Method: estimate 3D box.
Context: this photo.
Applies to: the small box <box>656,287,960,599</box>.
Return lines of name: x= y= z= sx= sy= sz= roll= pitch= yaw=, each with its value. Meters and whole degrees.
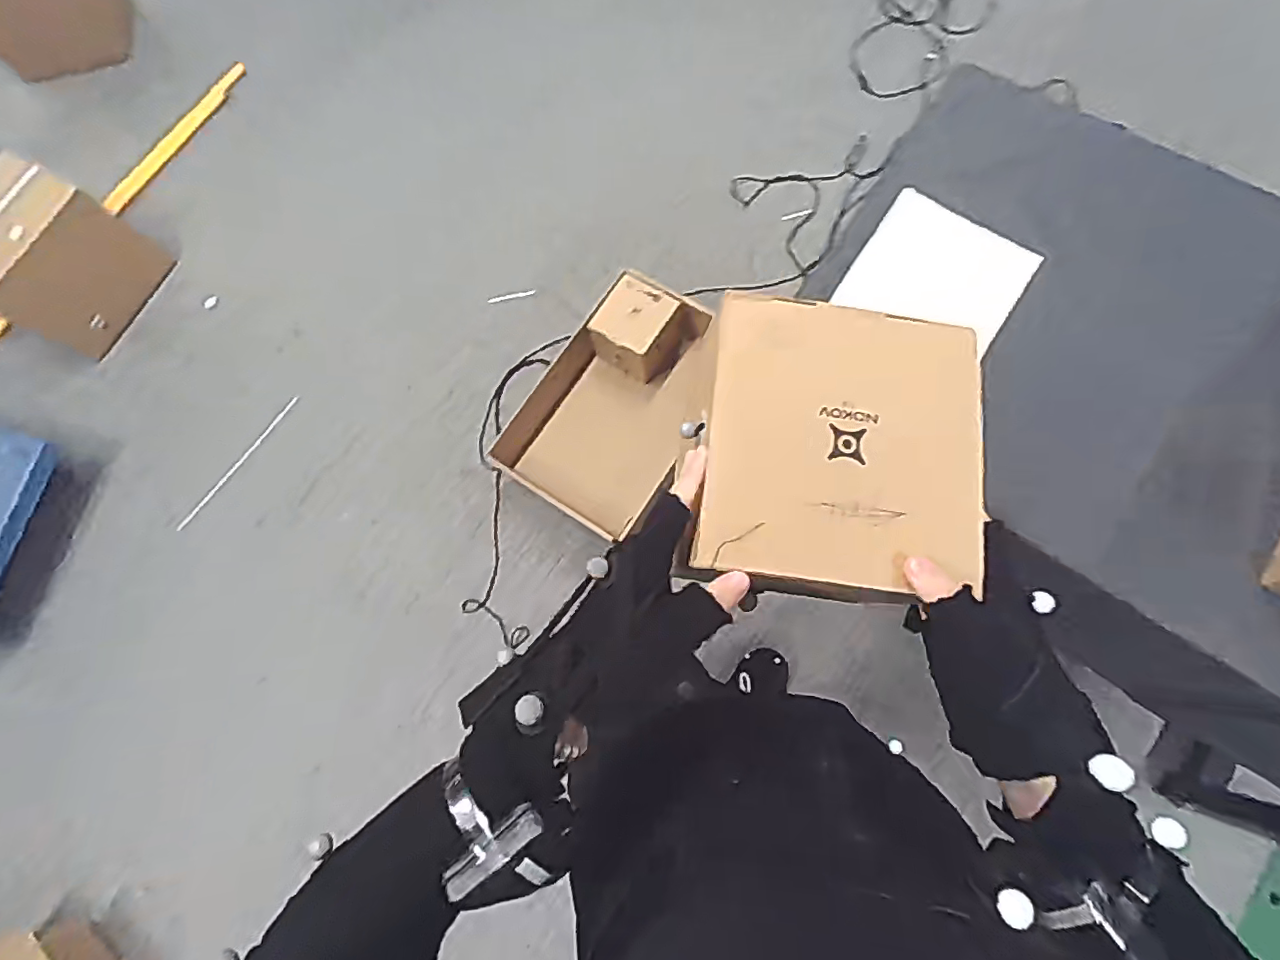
small box: x=0.106 y=-0.011 z=0.403 sx=0.168 sy=0.176 sz=0.179 roll=8 pitch=76 yaw=-2
